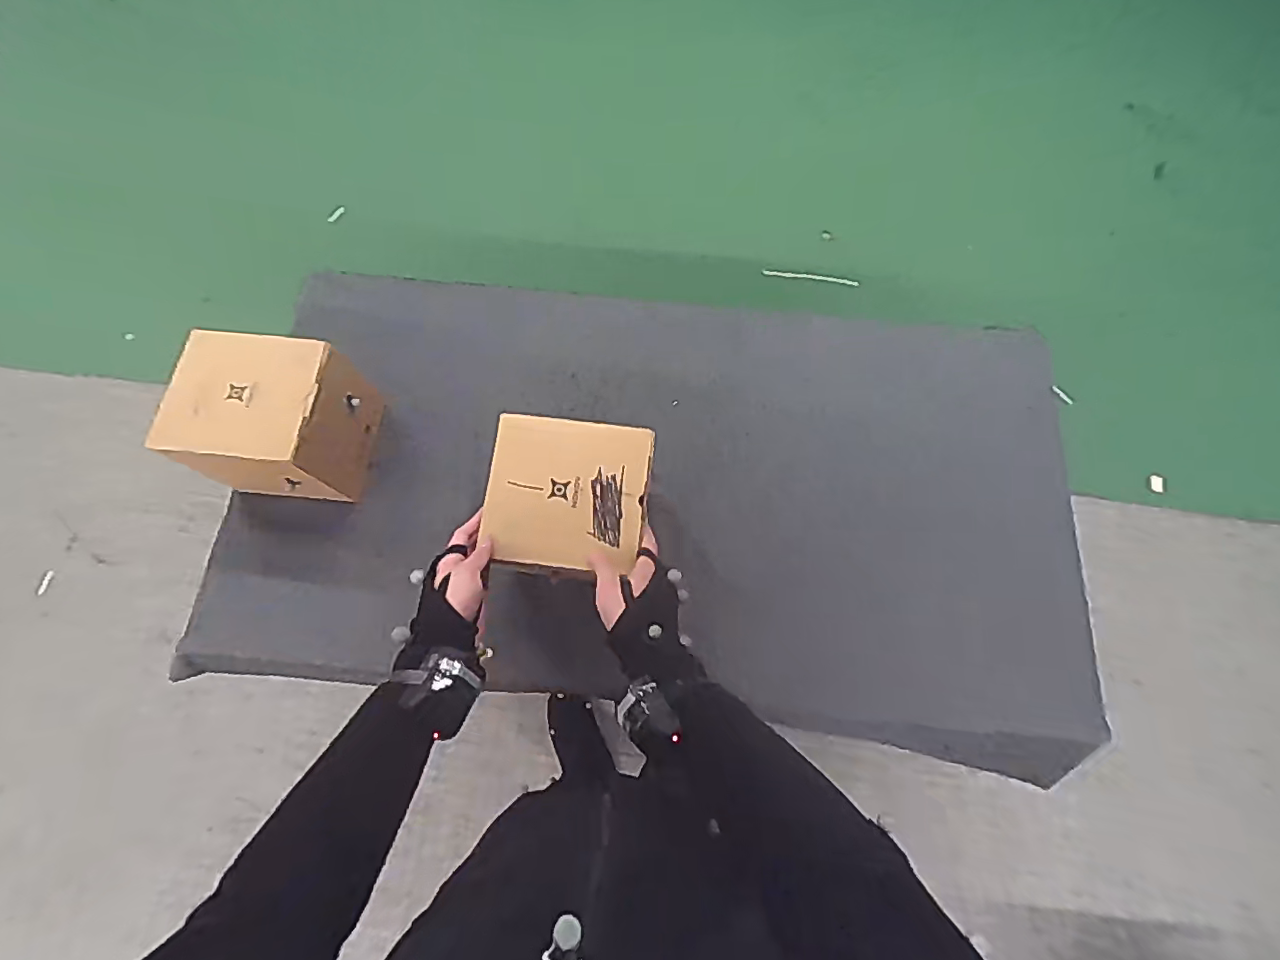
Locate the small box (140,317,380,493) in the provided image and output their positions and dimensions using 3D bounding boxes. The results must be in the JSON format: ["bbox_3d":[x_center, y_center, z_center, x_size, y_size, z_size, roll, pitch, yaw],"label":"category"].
[{"bbox_3d":[-0.474,-0.088,0.710,0.179,0.176,0.168,5,70,1],"label":"small box"}]

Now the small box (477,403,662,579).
[{"bbox_3d":[-0.075,0.024,0.655,0.179,0.176,0.168,8,75,1],"label":"small box"}]
